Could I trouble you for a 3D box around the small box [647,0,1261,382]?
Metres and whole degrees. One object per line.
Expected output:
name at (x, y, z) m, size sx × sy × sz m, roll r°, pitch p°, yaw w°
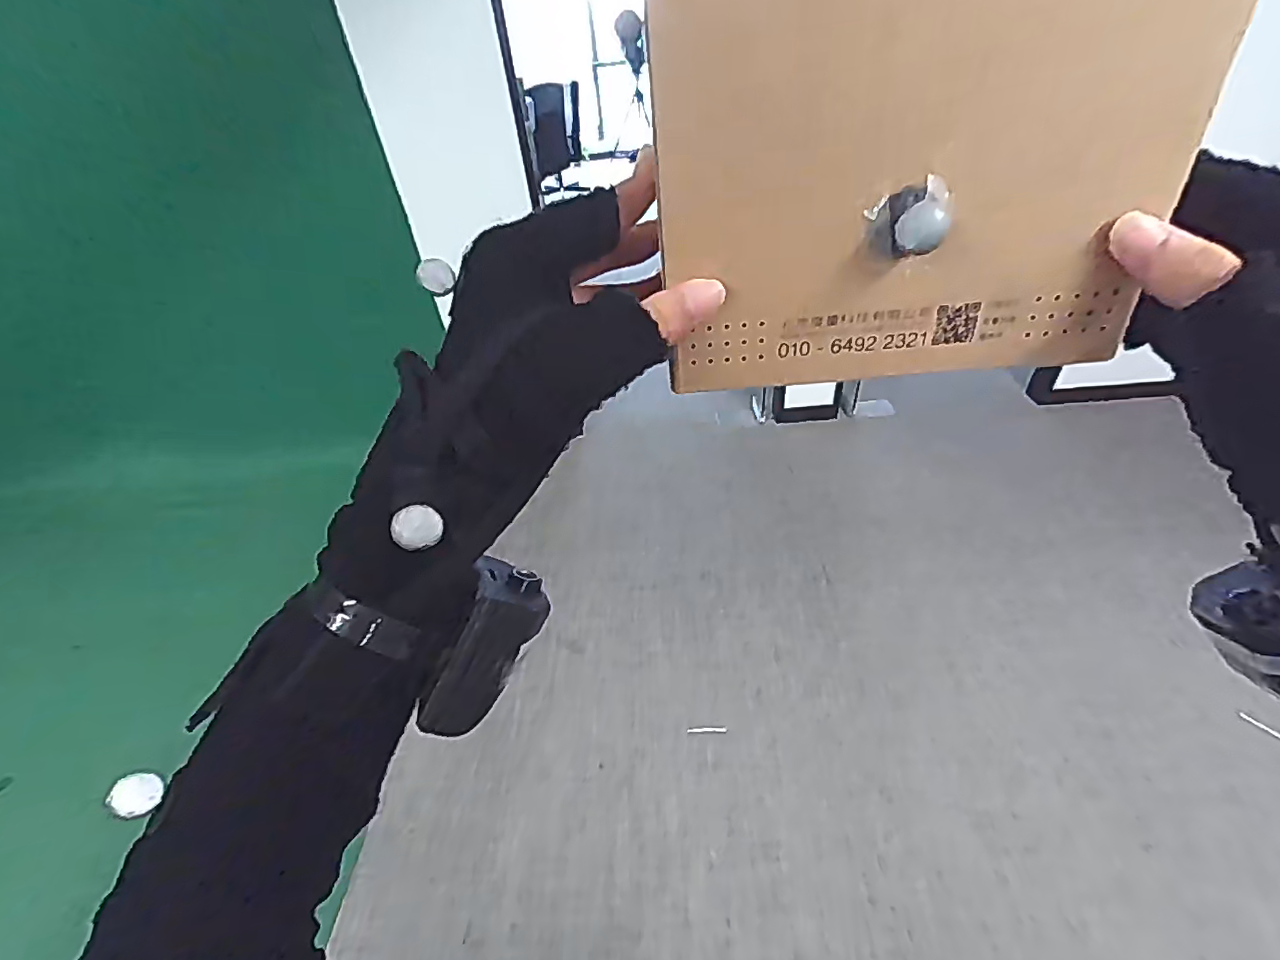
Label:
small box at (0.089, -0.154, 0.229) m, size 0.168 × 0.176 × 0.179 m, roll -4°, pitch 35°, yaw 5°
